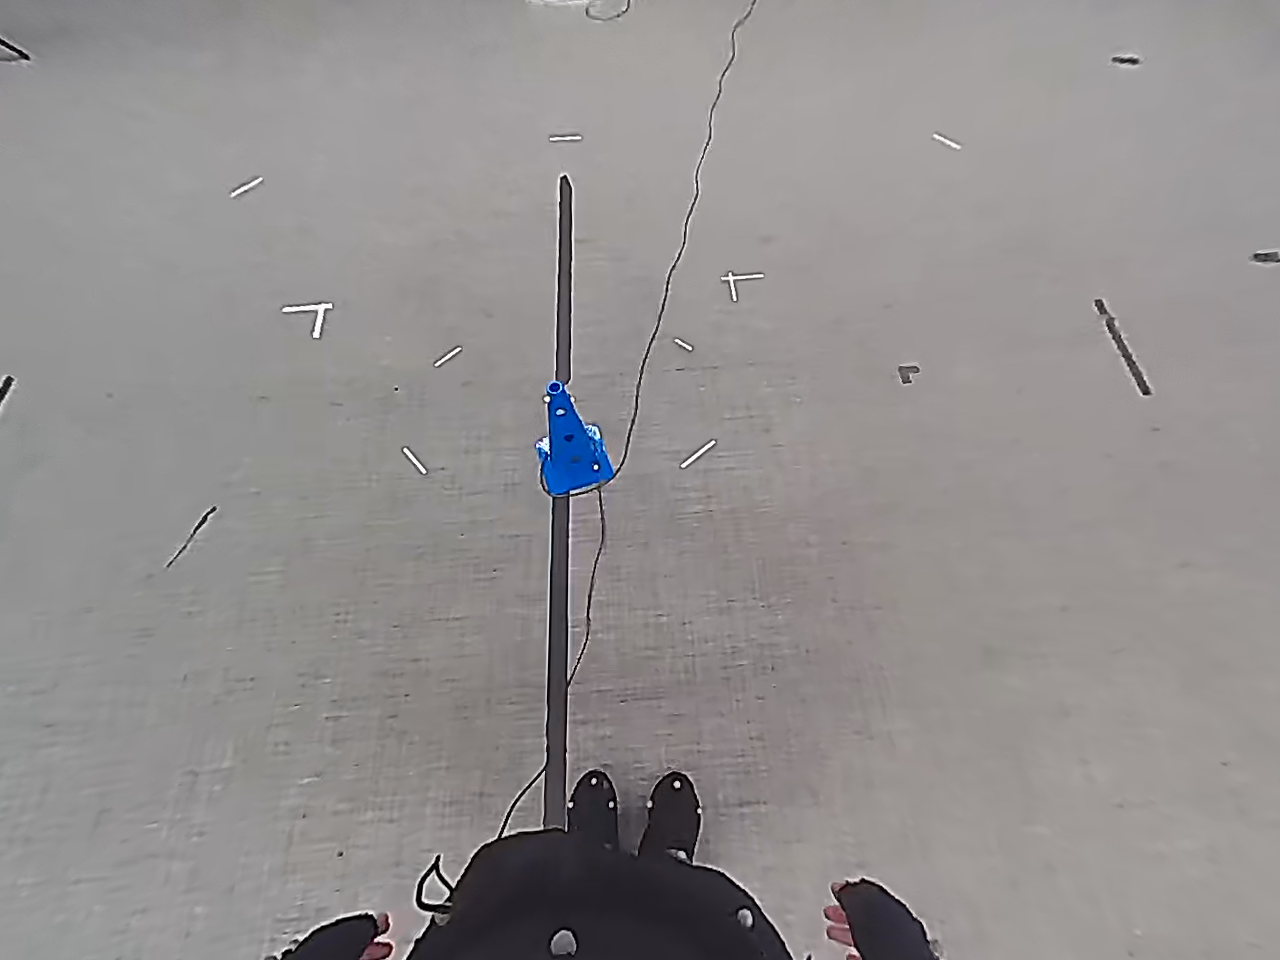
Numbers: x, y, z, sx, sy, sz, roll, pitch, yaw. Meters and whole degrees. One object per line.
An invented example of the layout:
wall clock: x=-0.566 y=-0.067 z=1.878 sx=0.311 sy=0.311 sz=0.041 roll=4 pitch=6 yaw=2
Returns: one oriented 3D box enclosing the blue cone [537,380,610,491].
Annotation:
blue cone: x=-0.201 y=-0.146 z=1.460 sx=0.193 sy=0.380 sz=0.192 roll=-18 pitch=64 yaw=-9
